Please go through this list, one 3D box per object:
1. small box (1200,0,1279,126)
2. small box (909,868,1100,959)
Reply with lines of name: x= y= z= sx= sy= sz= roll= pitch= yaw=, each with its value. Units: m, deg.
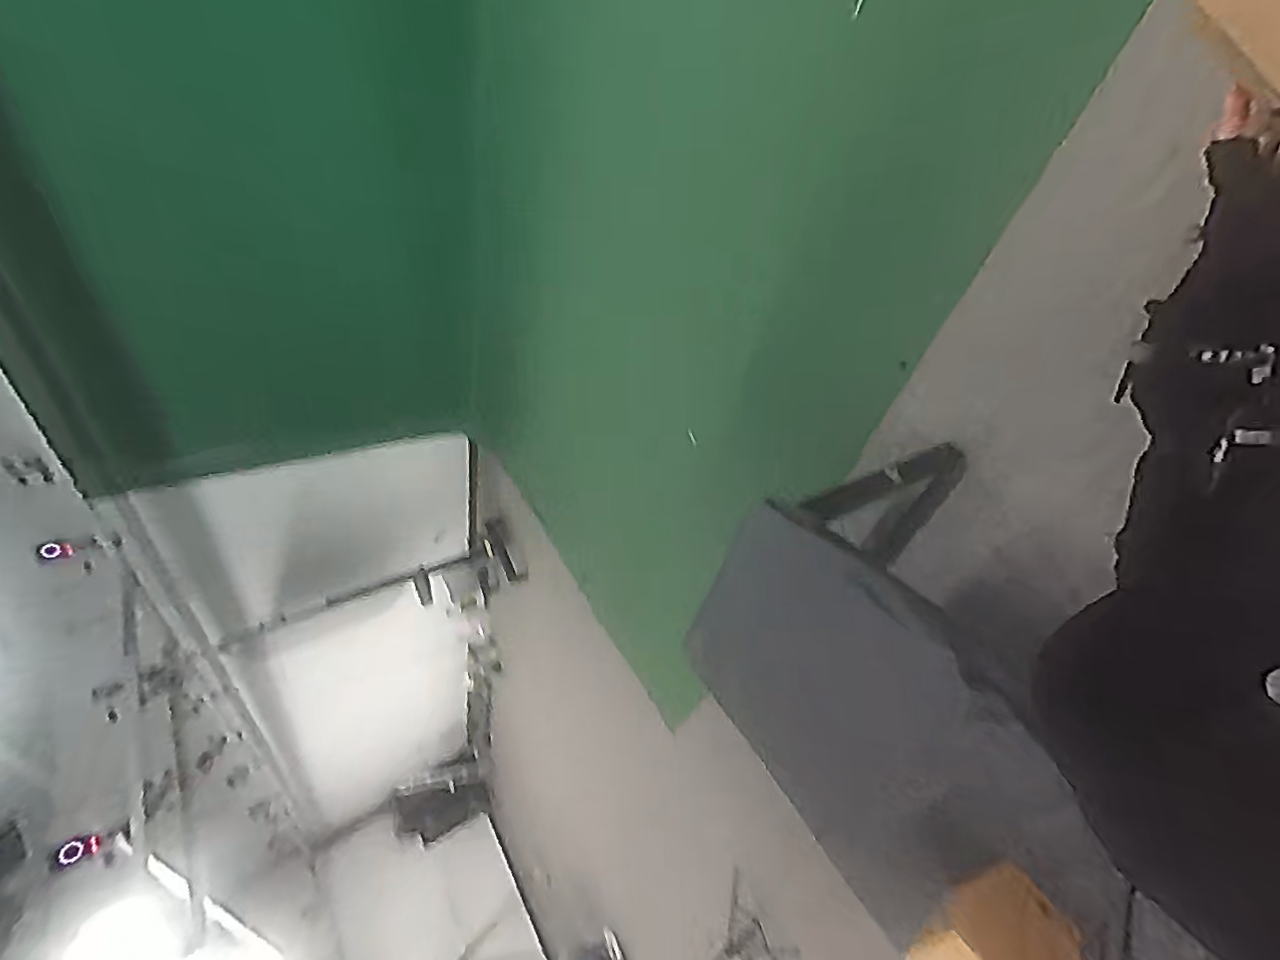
small box: x=0.419 y=-0.251 z=0.255 sx=0.179 sy=0.176 sz=0.168 roll=52 pitch=141 yaw=2
small box: x=0.553 y=0.731 z=0.810 sx=0.168 sy=0.176 sz=0.179 roll=46 pitch=140 yaw=36
